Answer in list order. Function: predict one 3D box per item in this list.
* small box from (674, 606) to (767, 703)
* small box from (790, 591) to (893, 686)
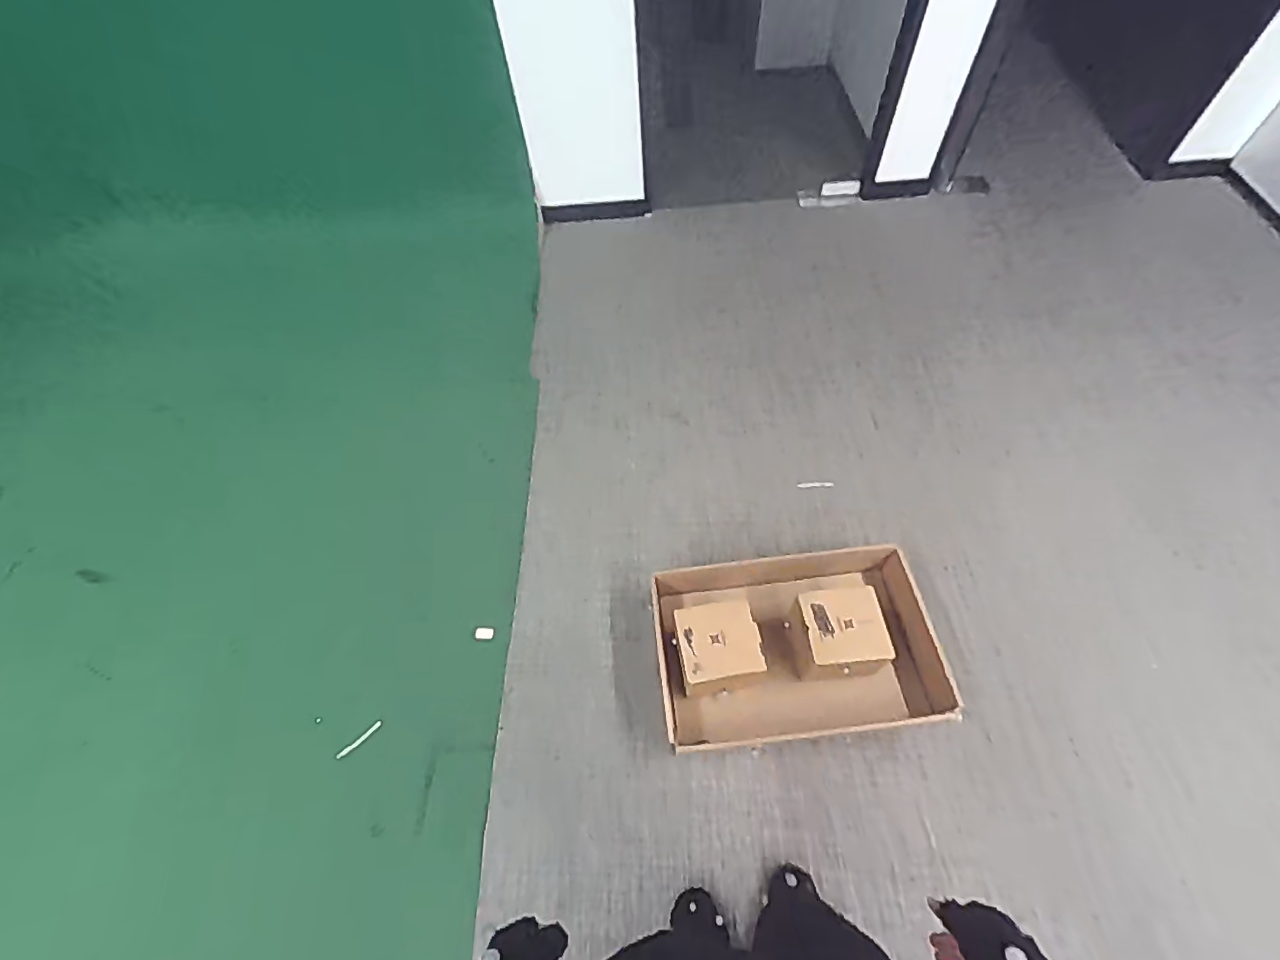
[{"bbox_3d":[0.178,0.410,1.261,0.179,0.176,0.168,-9,57,-3],"label":"small box"},{"bbox_3d":[0.457,0.375,1.263,0.179,0.176,0.168,-6,57,1],"label":"small box"}]
